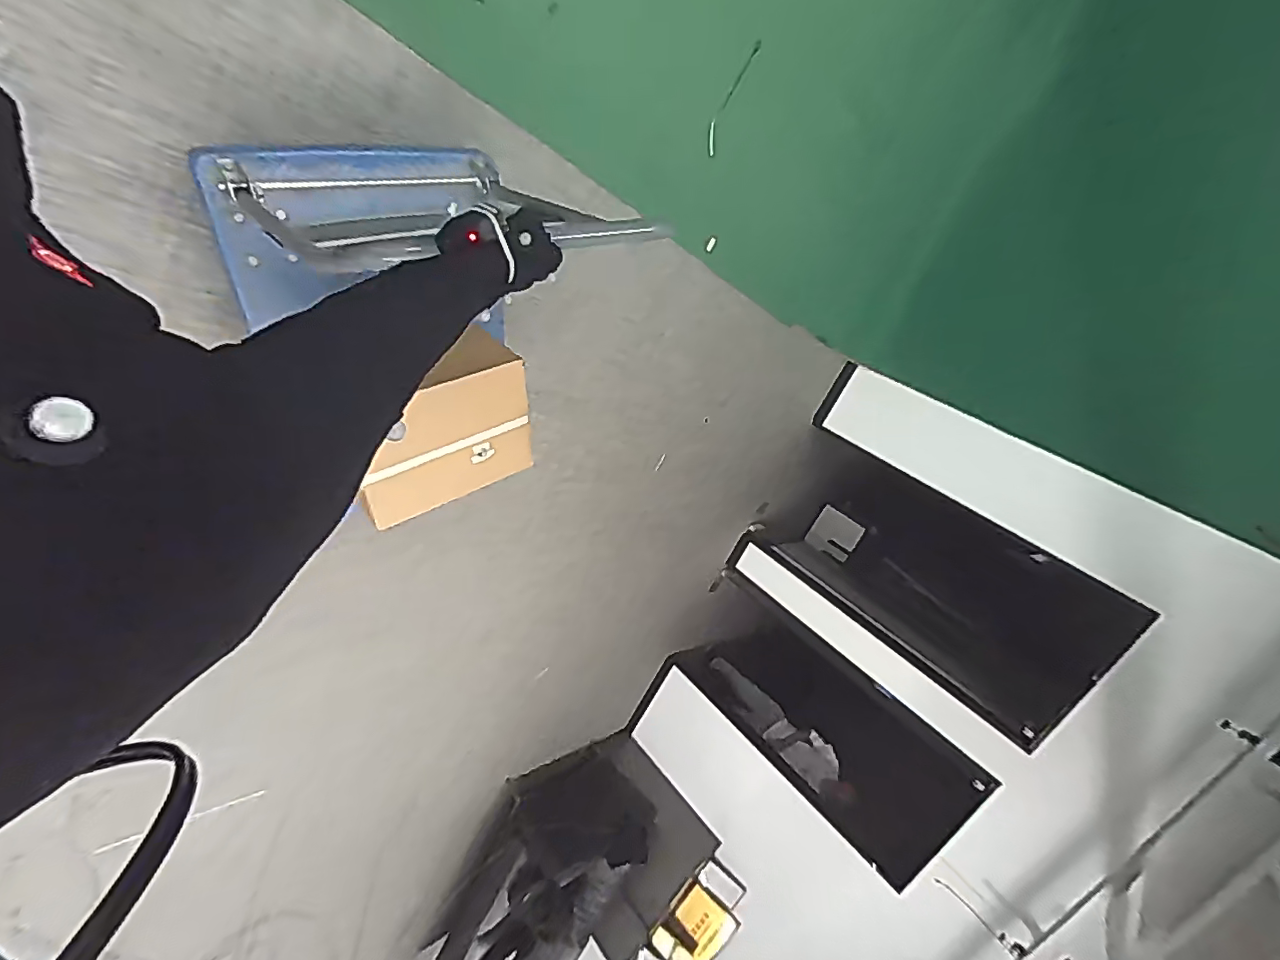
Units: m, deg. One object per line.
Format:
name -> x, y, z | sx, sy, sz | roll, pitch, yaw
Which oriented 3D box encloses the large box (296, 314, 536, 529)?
large box -> -0.513, -0.158, 1.294 | 0.408, 0.320, 0.320 | -29, 141, -32
